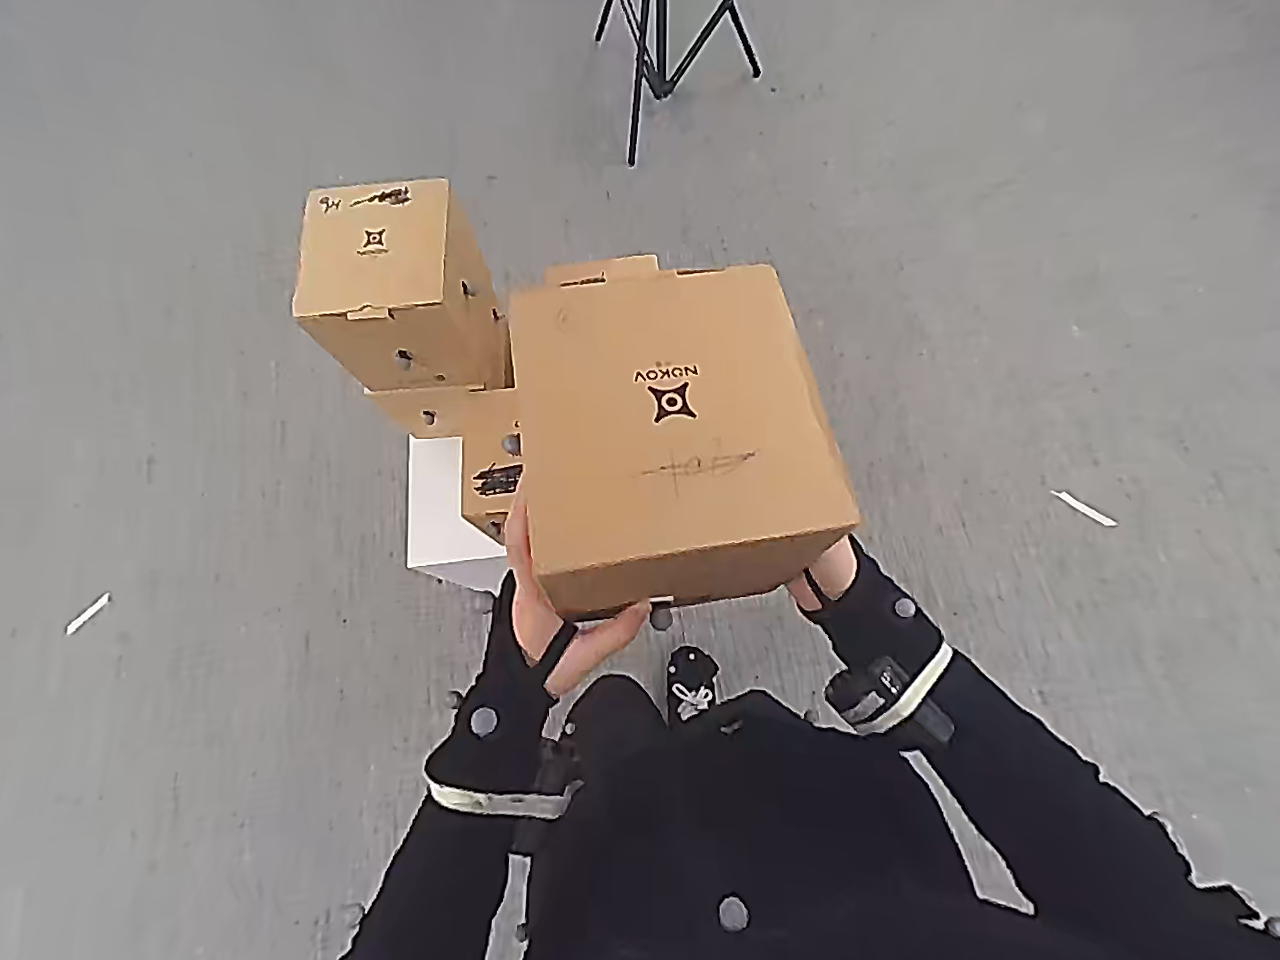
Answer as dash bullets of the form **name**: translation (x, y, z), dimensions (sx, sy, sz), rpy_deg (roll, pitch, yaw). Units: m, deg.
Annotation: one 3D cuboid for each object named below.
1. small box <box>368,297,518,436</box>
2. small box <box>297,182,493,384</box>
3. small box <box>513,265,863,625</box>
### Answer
- **small box**: translation (-0.288, -0.173, 0.827), dimensions (0.168, 0.176, 0.179), rpy_deg (-4, 72, 1)
- **small box**: translation (-0.288, -0.230, 0.673), dimensions (0.168, 0.176, 0.179), rpy_deg (-5, 73, 0)
- **small box**: translation (0.015, -0.013, 0.369), dimensions (0.168, 0.176, 0.179), rpy_deg (-9, 67, -6)
